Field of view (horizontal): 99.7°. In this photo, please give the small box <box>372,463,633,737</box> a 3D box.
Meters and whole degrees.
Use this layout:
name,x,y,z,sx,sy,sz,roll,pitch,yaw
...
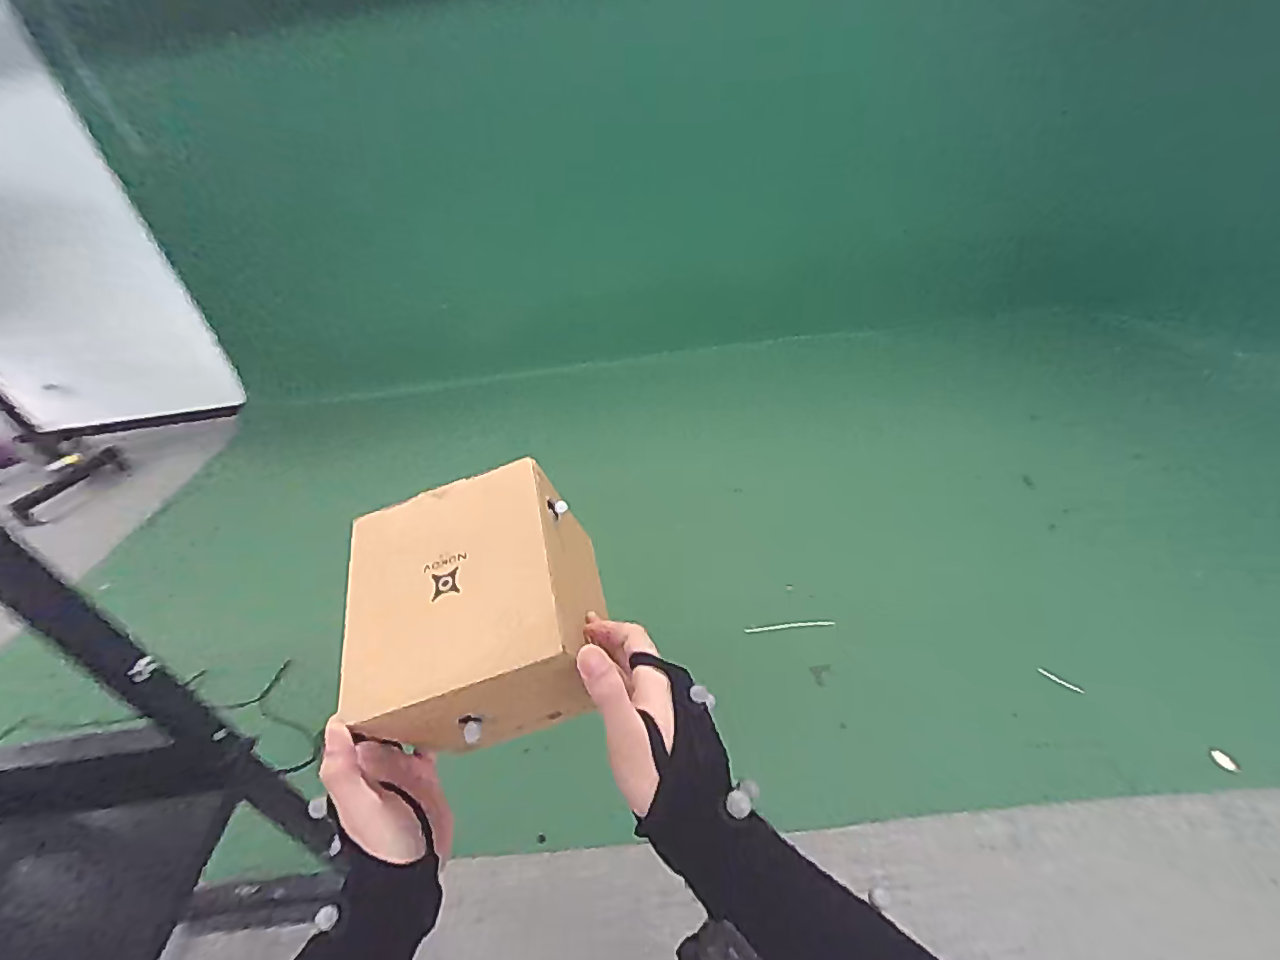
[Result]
name,x,y,z,sx,sy,sz,roll,pitch,yaw
small box,-0.115,0.119,0.490,0.168,0.176,0.179,-19,55,2
